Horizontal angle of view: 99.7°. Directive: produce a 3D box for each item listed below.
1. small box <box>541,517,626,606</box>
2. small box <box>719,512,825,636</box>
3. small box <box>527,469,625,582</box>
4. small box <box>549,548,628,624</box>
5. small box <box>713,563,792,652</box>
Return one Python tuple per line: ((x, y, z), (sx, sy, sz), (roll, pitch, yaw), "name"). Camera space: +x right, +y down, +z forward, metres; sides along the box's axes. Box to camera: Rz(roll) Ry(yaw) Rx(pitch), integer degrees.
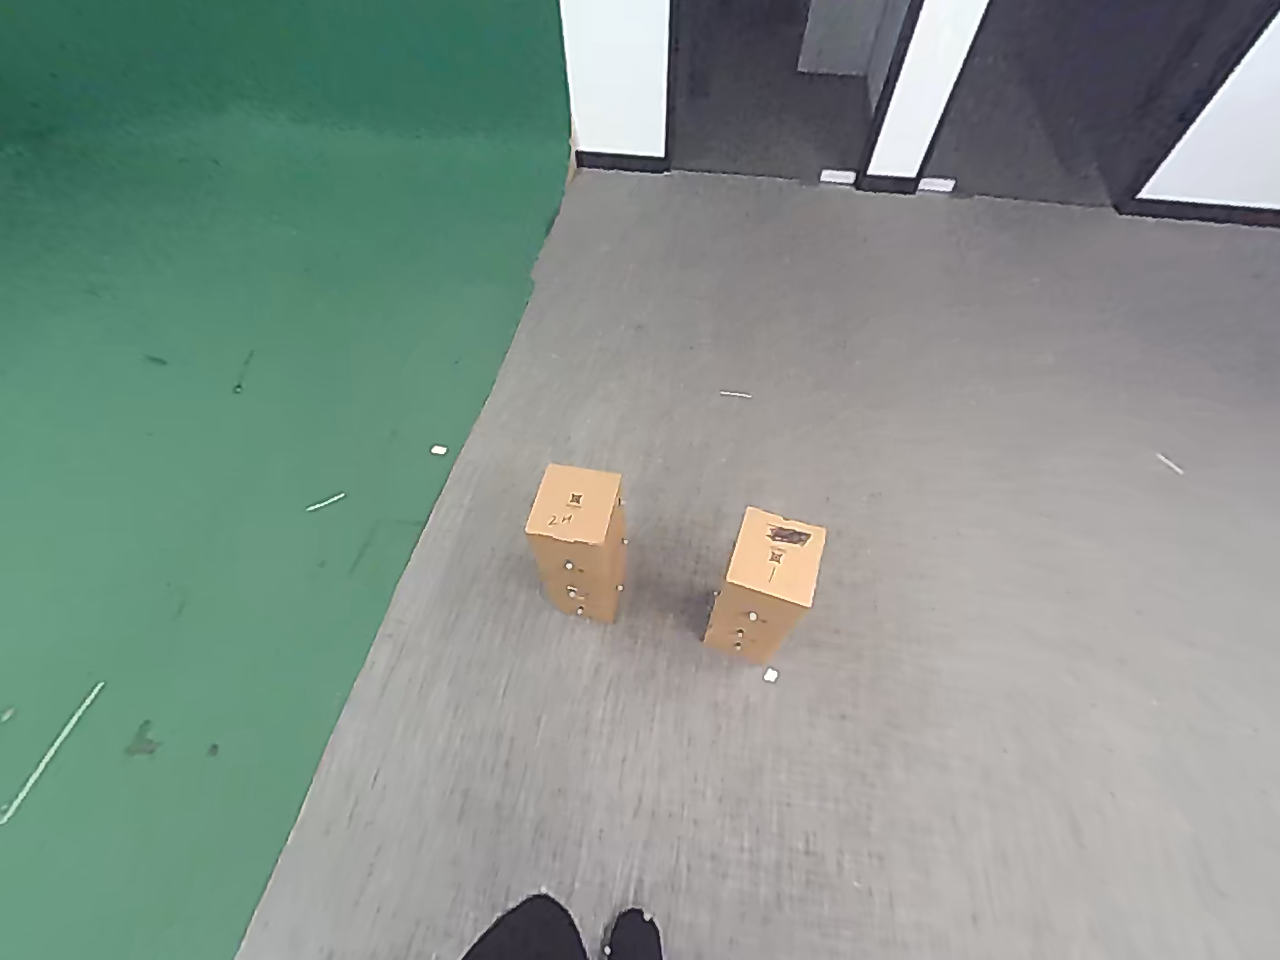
((-0.130, 0.188, 1.334), (0.168, 0.176, 0.179), (9, 59, 8), "small box")
((0.269, 0.199, 1.127), (0.168, 0.176, 0.179), (17, 61, 11), "small box")
((-0.131, 0.103, 1.193), (0.168, 0.176, 0.179), (9, 58, 8), "small box")
((-0.131, 0.274, 1.472), (0.168, 0.176, 0.179), (12, 59, 8), "small box")
((0.273, 0.280, 1.270), (0.168, 0.176, 0.179), (15, 60, 10), "small box")
